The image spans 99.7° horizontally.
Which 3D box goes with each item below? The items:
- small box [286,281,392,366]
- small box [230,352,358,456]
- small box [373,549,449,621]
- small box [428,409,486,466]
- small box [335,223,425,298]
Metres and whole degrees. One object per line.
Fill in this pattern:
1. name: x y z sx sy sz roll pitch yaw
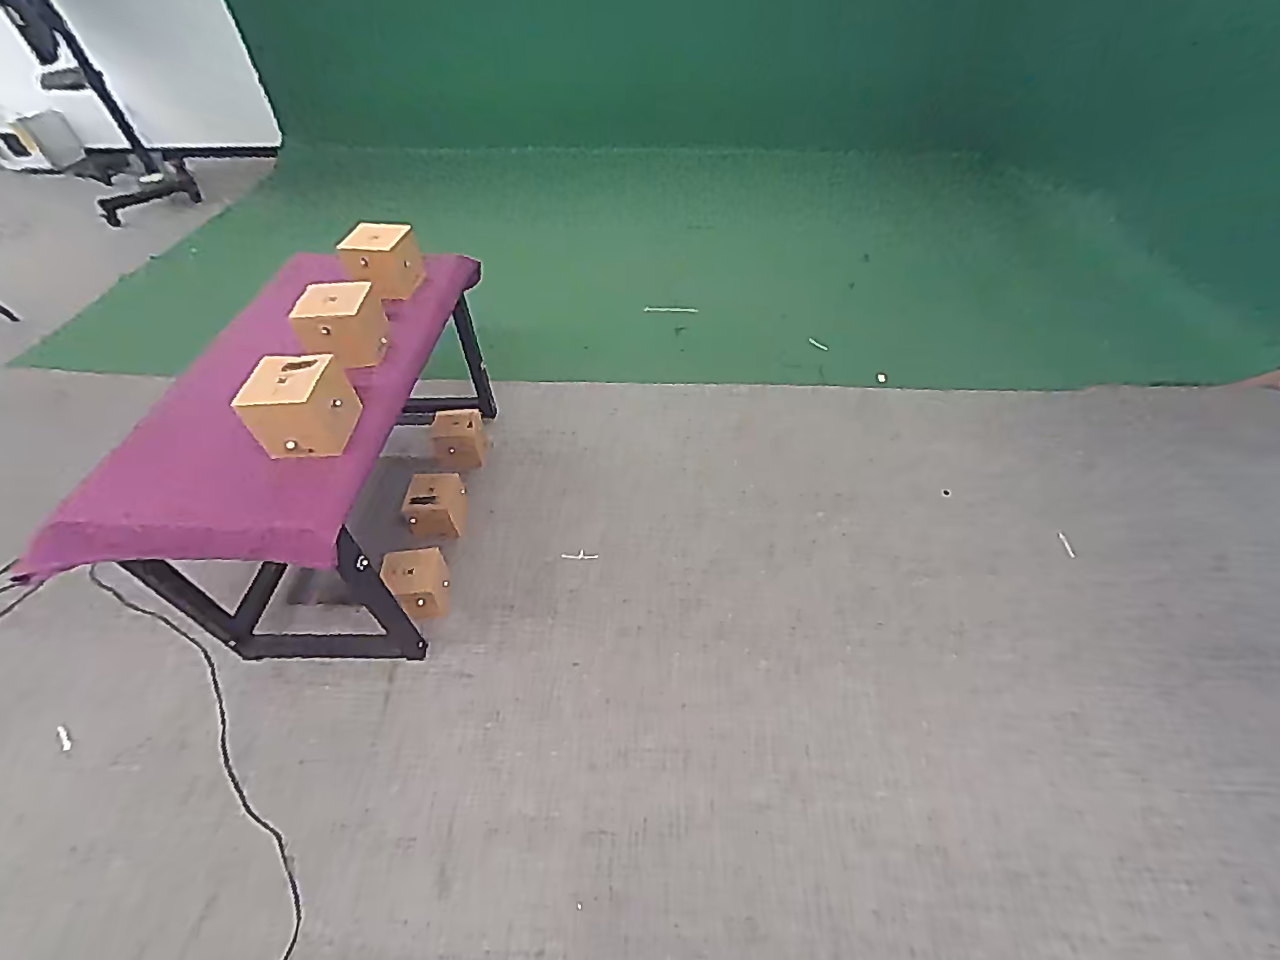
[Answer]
1. small box: -0.812 -0.424 1.479 0.179 0.176 0.168 -2 49 -1
2. small box: -0.784 -0.175 1.251 0.168 0.176 0.179 -3 49 0
3. small box: -0.738 0.344 1.762 0.179 0.176 0.168 -6 48 -4
4. small box: -0.748 -0.171 2.224 0.179 0.176 0.168 -4 48 -3
5. small box: -0.817 -0.697 1.723 0.179 0.176 0.168 5 49 7
